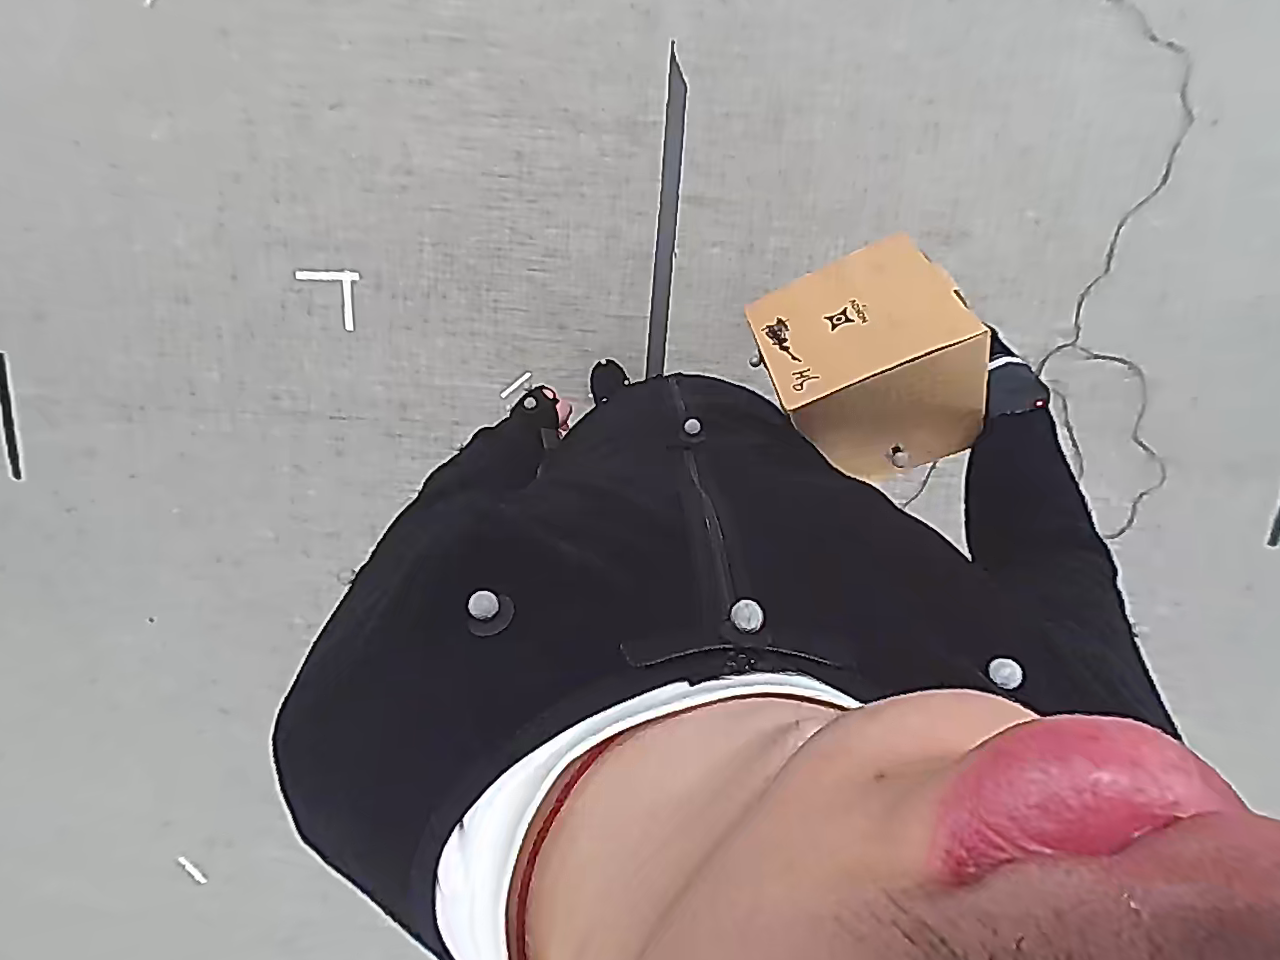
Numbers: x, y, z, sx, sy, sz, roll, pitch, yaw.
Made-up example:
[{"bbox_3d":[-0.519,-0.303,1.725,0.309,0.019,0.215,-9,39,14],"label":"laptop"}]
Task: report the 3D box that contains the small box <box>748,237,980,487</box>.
[{"bbox_3d":[0.239,-0.120,0.595,0.179,0.168,0.176,-21,140,15],"label":"small box"}]
